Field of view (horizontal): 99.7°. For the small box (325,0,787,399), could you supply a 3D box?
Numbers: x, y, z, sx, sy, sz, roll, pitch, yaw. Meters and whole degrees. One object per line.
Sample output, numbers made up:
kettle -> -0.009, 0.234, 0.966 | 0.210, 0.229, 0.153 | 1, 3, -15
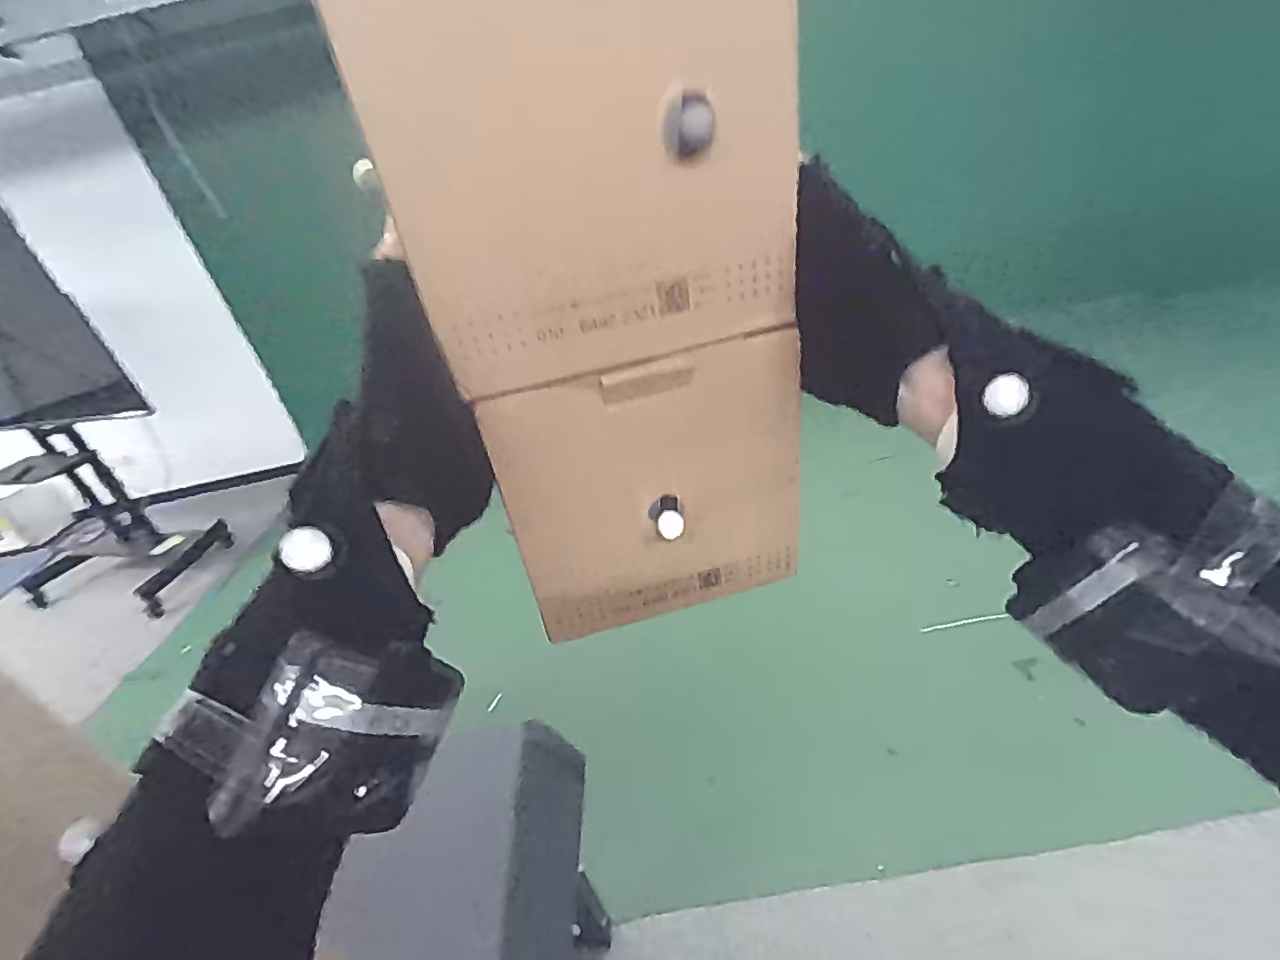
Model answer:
small box -> -0.031, -0.153, 0.288 | 0.168, 0.176, 0.179 | -14, 31, -8

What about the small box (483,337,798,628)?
small box -> -0.002, -0.020, 0.376 | 0.168, 0.176, 0.179 | -14, 33, -6
